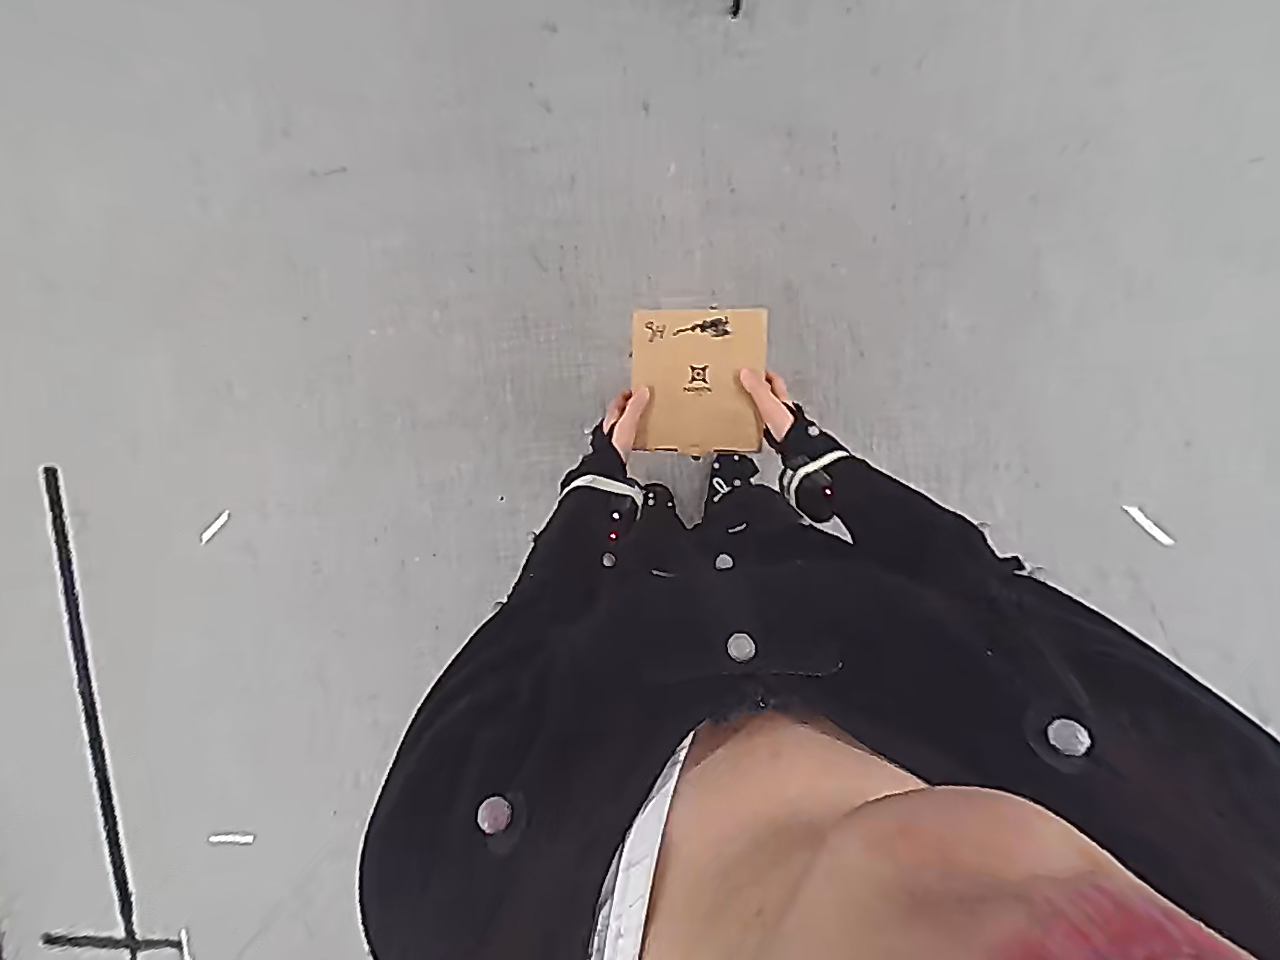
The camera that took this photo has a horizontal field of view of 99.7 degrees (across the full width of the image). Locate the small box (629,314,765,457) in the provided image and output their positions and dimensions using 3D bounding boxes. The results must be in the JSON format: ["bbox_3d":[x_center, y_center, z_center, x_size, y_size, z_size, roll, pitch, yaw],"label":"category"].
[{"bbox_3d":[0.078,-0.129,0.752,0.168,0.176,0.179,2,97,6],"label":"small box"}]
